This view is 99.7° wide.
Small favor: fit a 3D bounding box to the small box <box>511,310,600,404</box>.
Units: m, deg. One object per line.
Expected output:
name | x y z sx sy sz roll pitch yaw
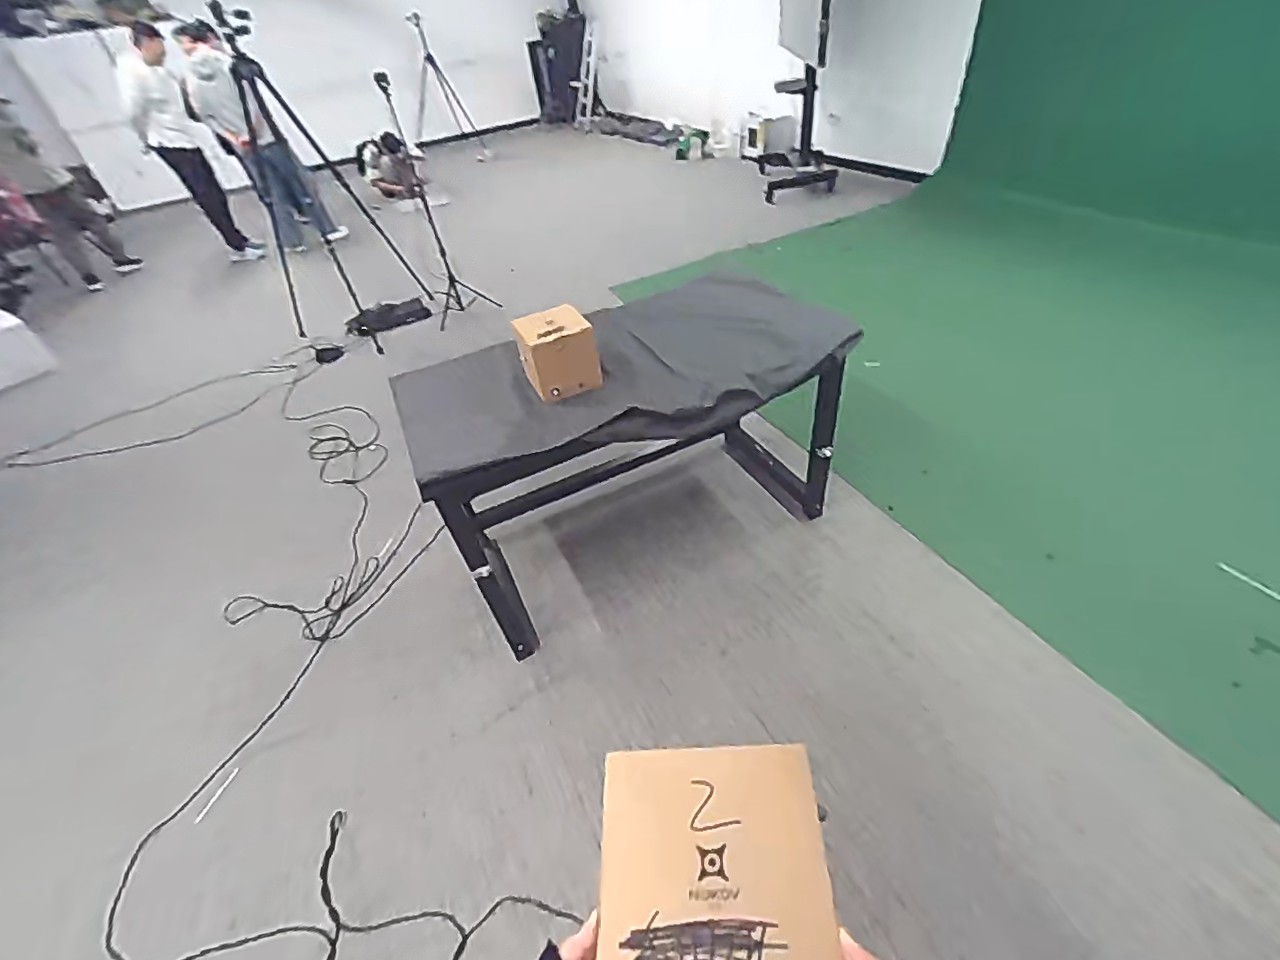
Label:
small box | -0.217 -0.318 1.416 0.168 0.176 0.179 -22 42 -15
